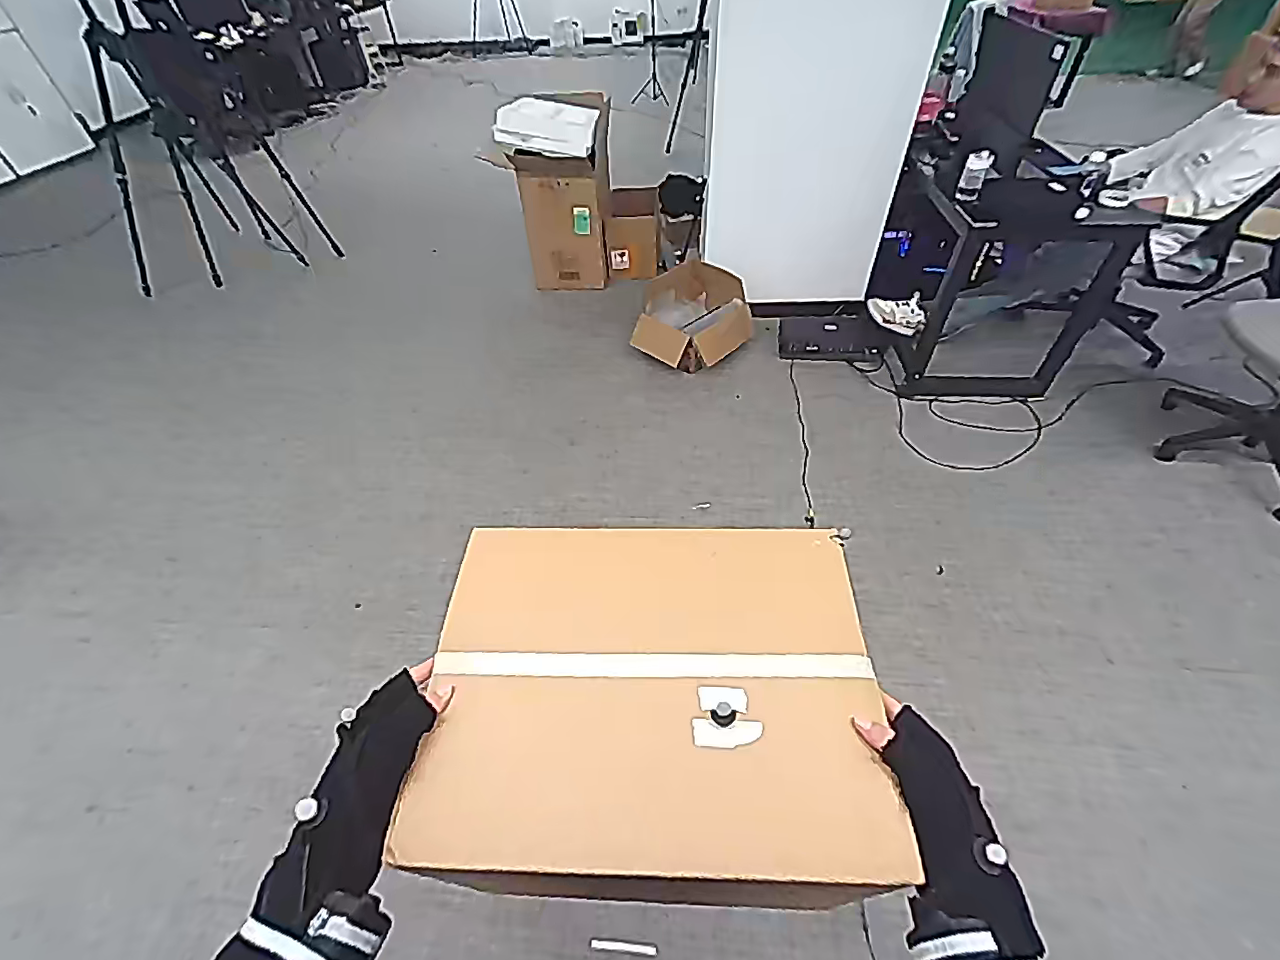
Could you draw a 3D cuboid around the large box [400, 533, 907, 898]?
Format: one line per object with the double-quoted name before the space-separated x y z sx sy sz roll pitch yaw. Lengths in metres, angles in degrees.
"large box" 0.014 0.274 0.625 0.408 0.320 0.320 0 49 3
